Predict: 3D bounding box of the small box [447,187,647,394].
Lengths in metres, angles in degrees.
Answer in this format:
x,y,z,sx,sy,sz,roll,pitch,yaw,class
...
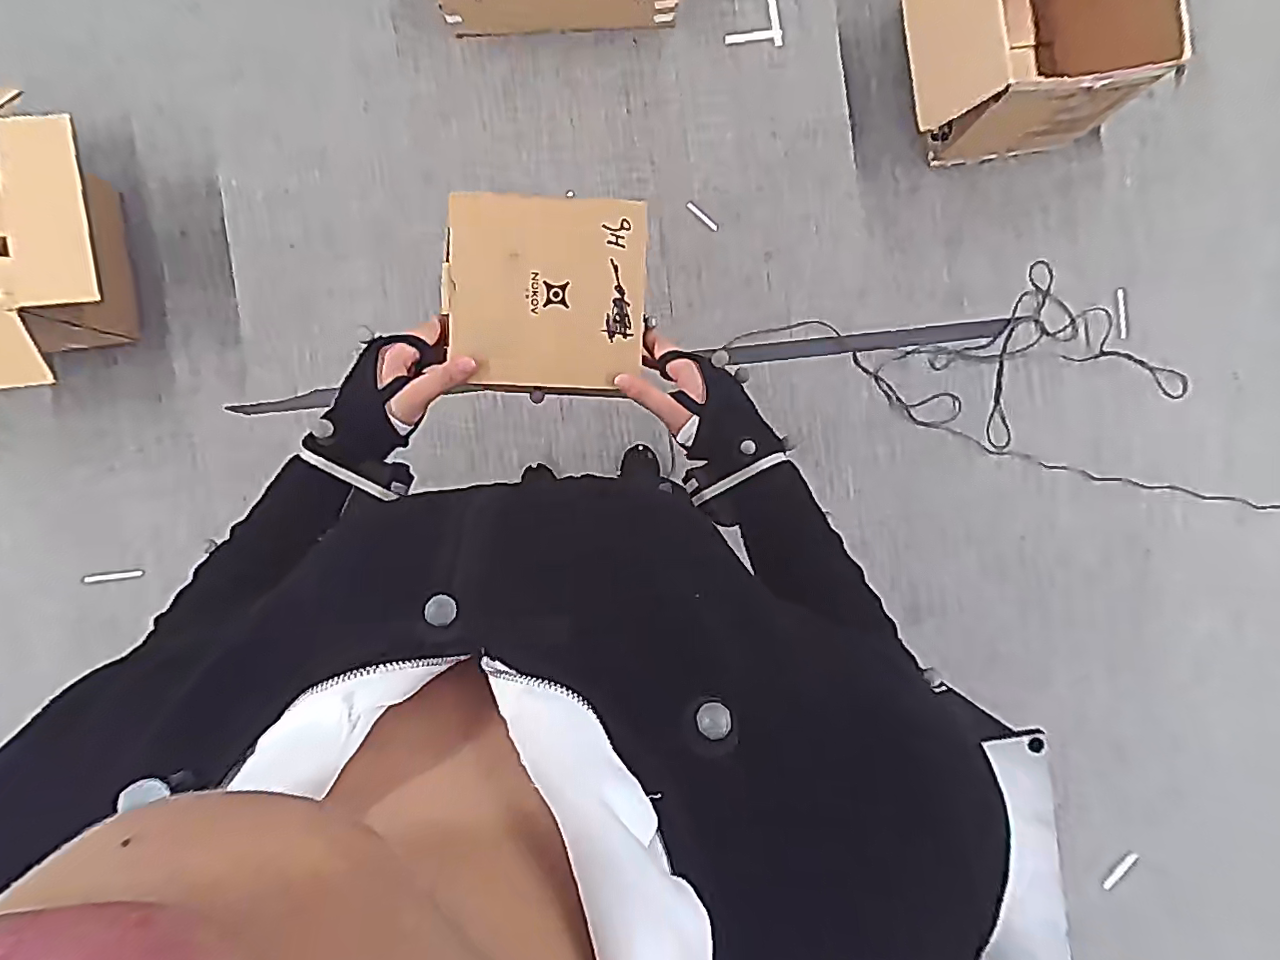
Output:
x,y,z,sx,sy,sz,roll,pitch,yaw,class
-0.086,-0.180,0.563,0.179,0.176,0.168,2,95,-3,small box
